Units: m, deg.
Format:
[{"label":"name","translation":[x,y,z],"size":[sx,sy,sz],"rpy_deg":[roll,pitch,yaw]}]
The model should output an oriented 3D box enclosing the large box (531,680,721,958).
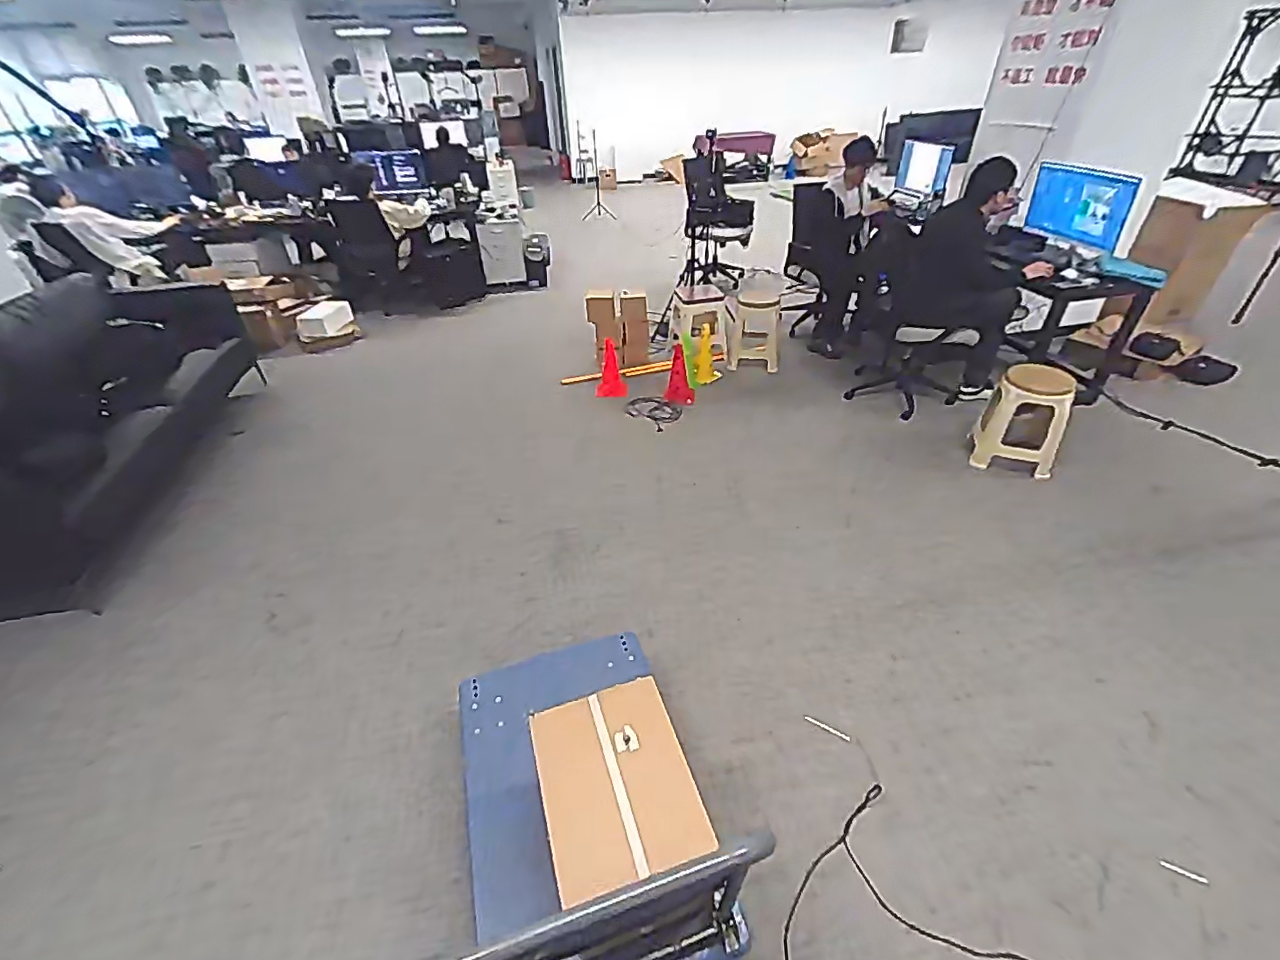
[{"label":"large box","translation":[-0.040,0.758,1.244],"size":[0.320,0.320,0.408],"rpy_deg":[-13,38,-14]}]
